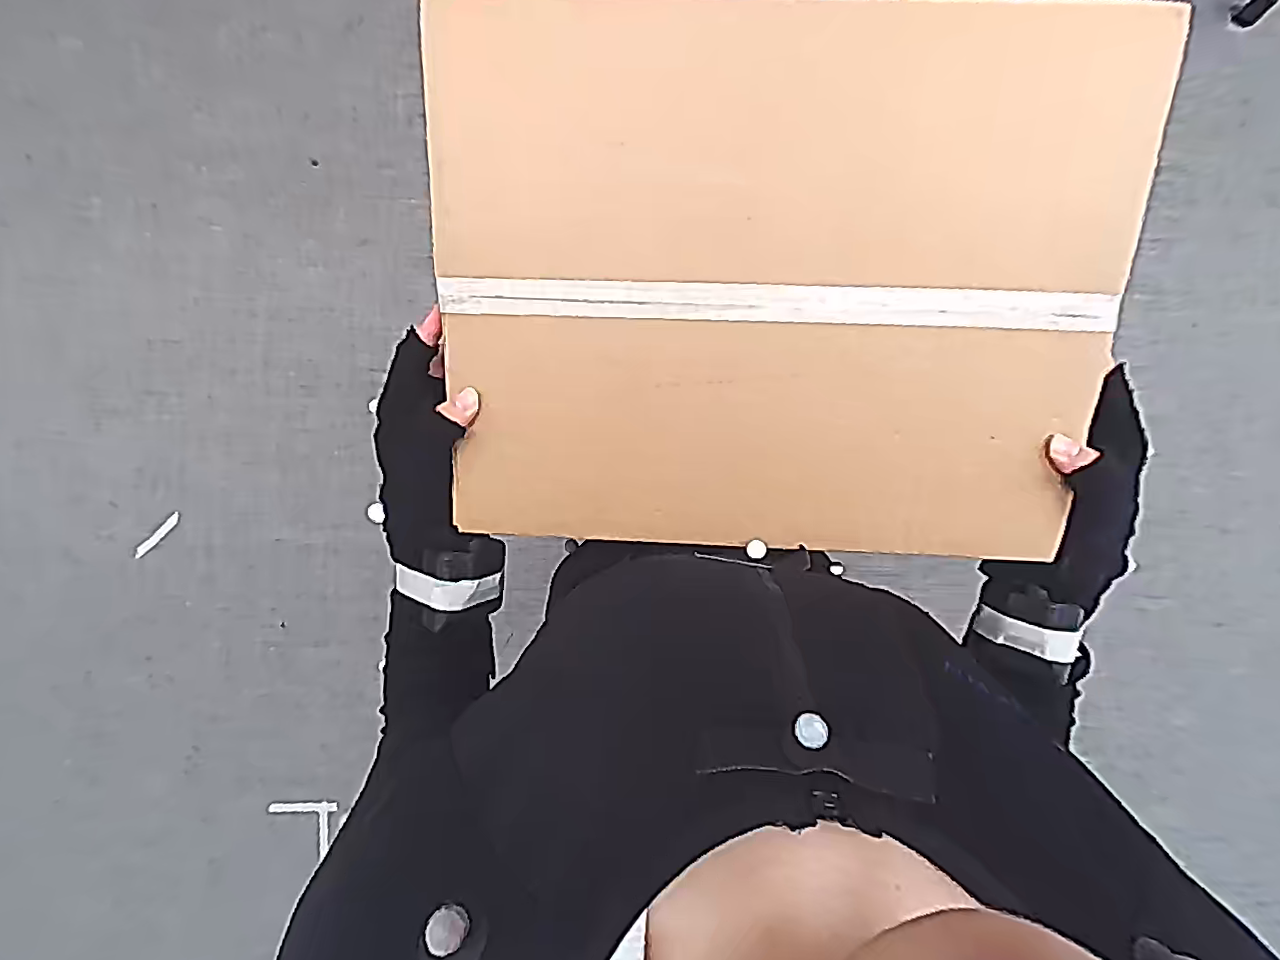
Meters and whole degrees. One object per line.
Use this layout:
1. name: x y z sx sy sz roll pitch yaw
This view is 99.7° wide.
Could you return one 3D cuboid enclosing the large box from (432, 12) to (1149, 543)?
1. large box: 0.081 -0.147 0.481 0.408 0.320 0.320 2 106 2
